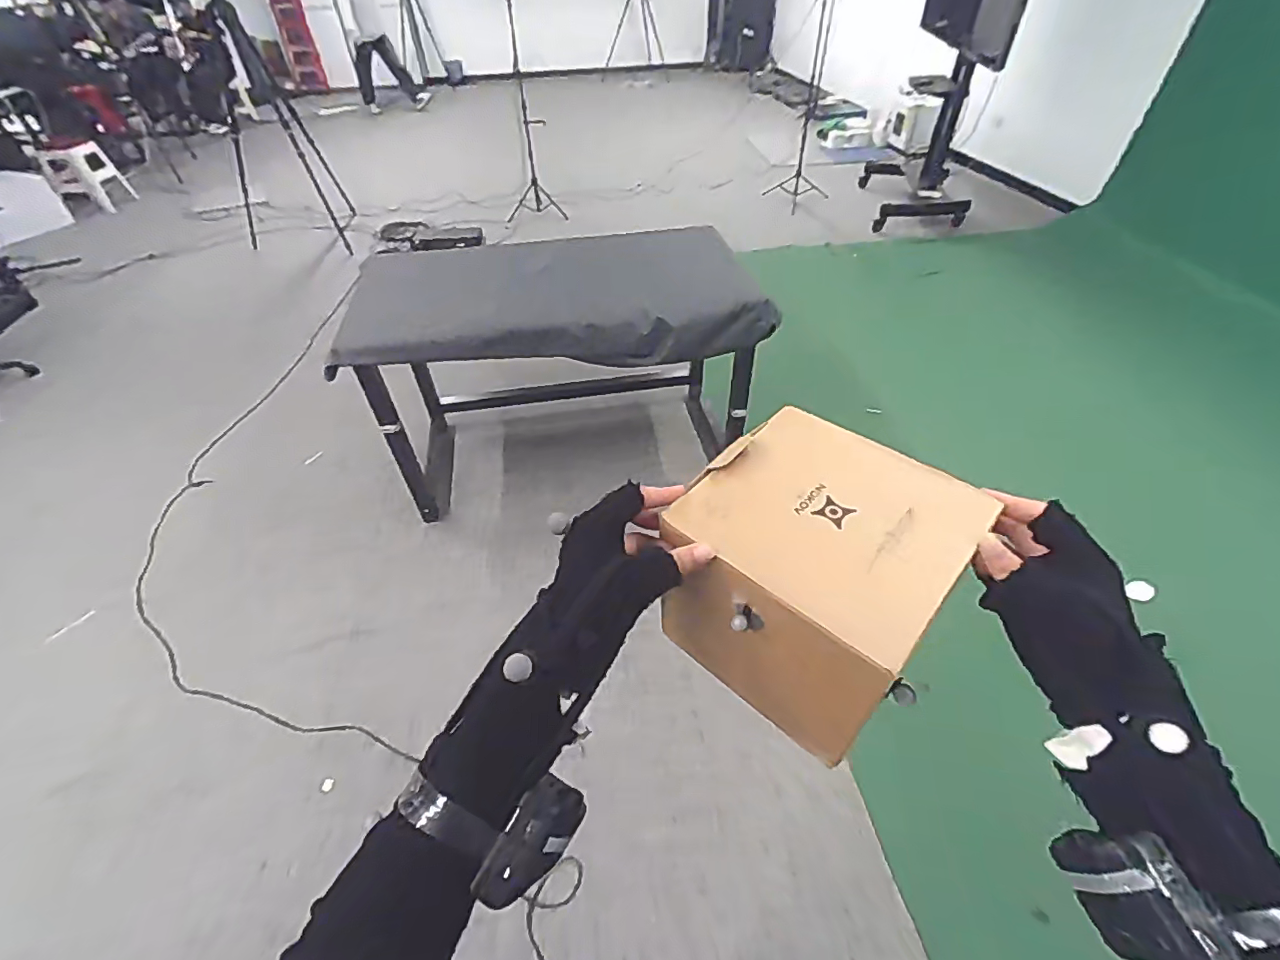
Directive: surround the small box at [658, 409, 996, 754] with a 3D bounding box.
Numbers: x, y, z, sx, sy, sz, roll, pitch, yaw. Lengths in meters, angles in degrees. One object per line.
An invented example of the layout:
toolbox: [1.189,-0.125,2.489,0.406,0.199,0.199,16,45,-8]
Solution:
small box: [0.131,0.078,0.432,0.179,0.176,0.168,33,56,30]
